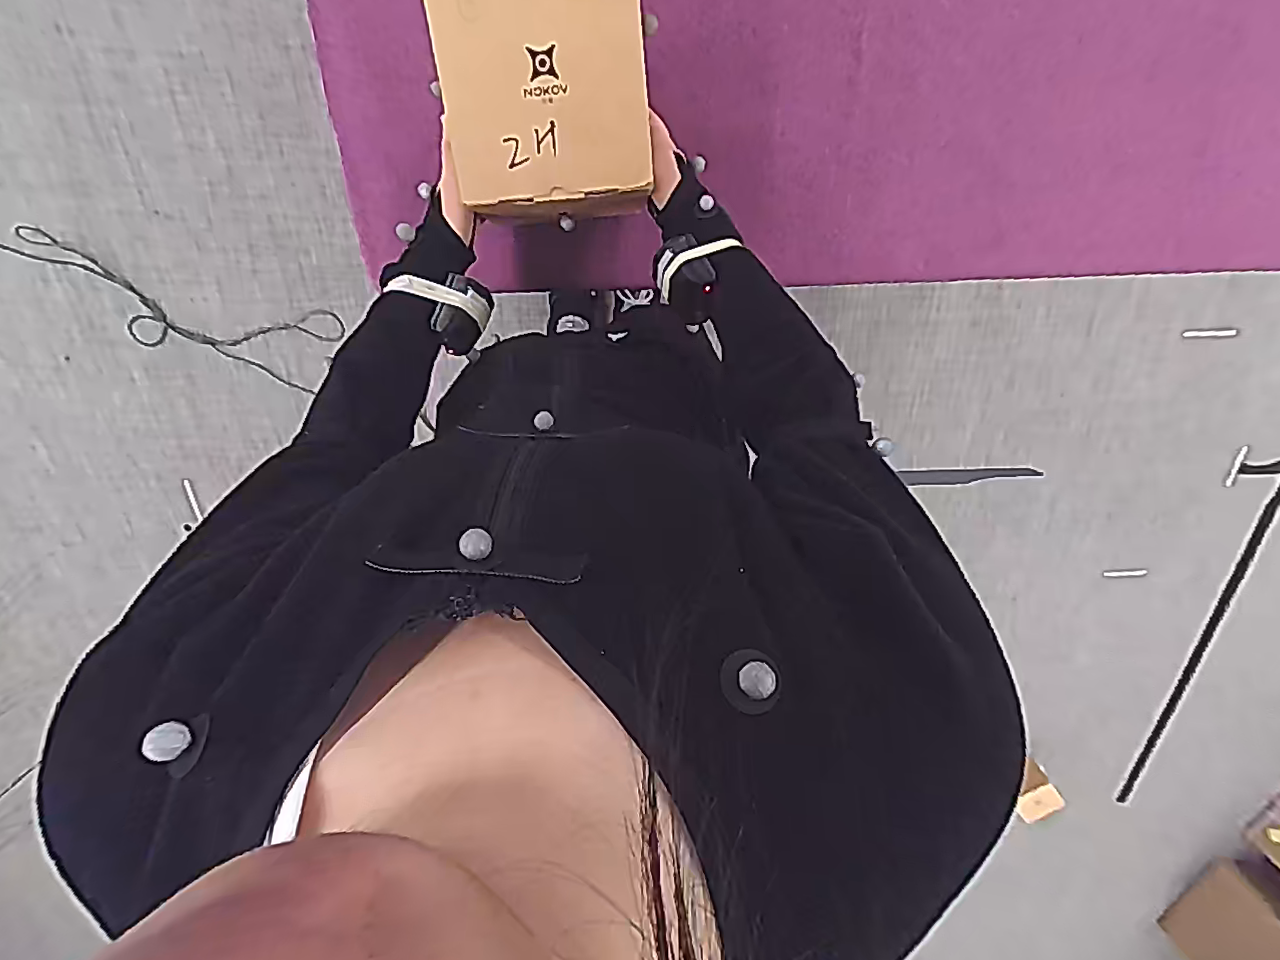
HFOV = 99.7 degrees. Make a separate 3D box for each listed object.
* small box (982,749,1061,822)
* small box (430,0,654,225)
[{"bbox_3d":[1.504,1.201,2.143,0.168,0.176,0.179,-37,113,13],"label":"small box"},{"bbox_3d":[-0.081,-0.349,0.502,0.168,0.176,0.179,-6,110,-1],"label":"small box"}]
